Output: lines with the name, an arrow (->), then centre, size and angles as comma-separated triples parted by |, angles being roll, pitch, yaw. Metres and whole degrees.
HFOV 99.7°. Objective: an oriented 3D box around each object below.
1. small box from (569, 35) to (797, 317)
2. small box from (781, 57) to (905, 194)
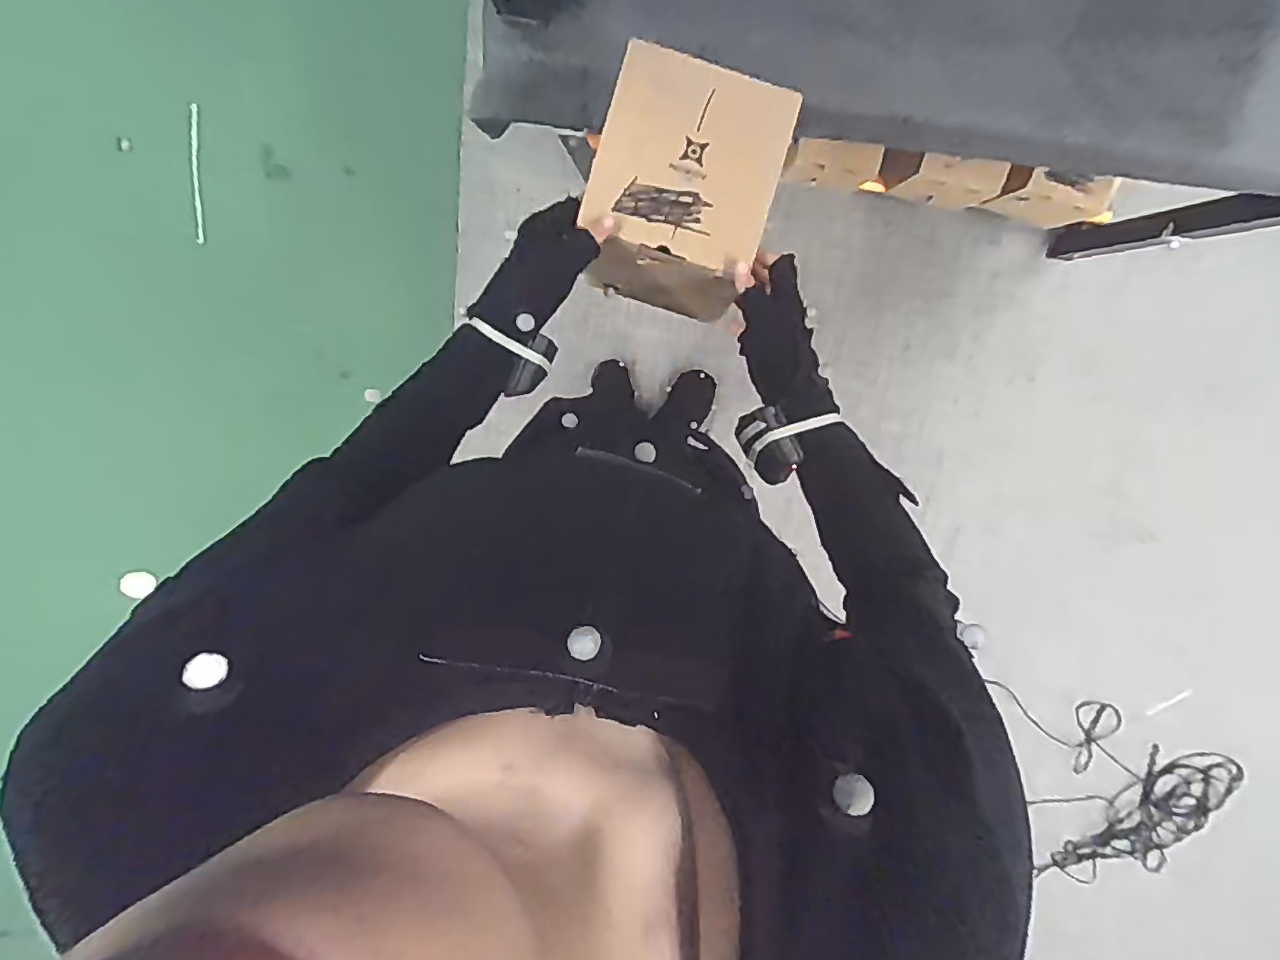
small box -> 0.037, -0.289, 0.561 | 0.168, 0.176, 0.179 | 17, 91, -3
small box -> 0.395, -0.701, 1.087 | 0.168, 0.176, 0.179 | 10, 108, 0
